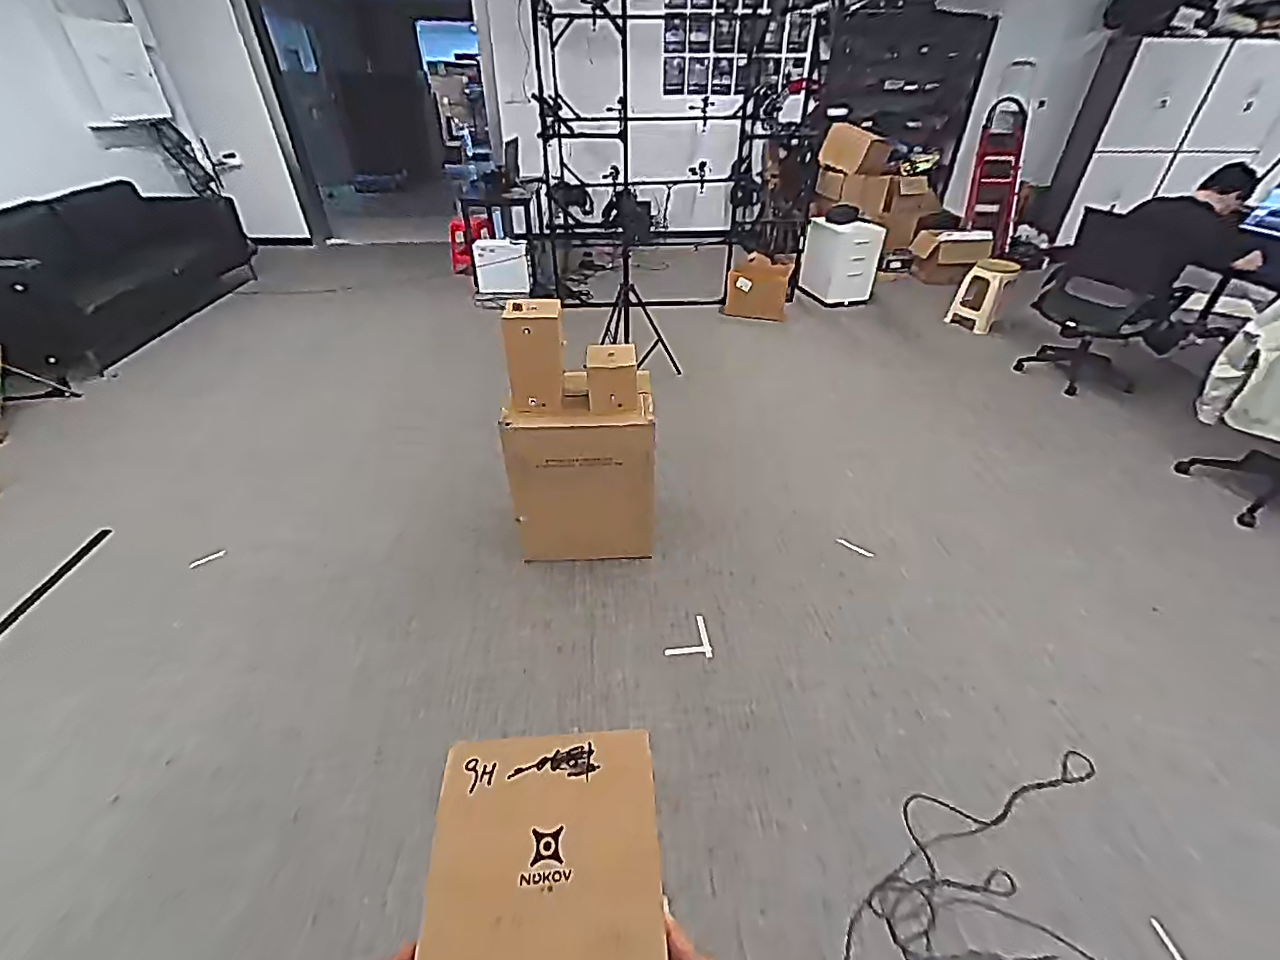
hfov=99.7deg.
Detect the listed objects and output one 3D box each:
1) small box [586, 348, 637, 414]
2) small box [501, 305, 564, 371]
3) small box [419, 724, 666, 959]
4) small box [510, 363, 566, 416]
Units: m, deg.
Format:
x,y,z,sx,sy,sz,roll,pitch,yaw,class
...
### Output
x,y,z,sx,sy,sz,roll,pitch,yaw,class
-0.098,-0.345,1.887,0.168,0.176,0.179,-4,37,-1,small box
-0.348,-0.467,1.781,0.179,0.176,0.168,-2,37,-4,small box
-0.067,0.327,0.451,0.168,0.176,0.179,-4,46,-4,small box
-0.351,-0.338,1.882,0.168,0.176,0.179,-3,38,-3,small box
